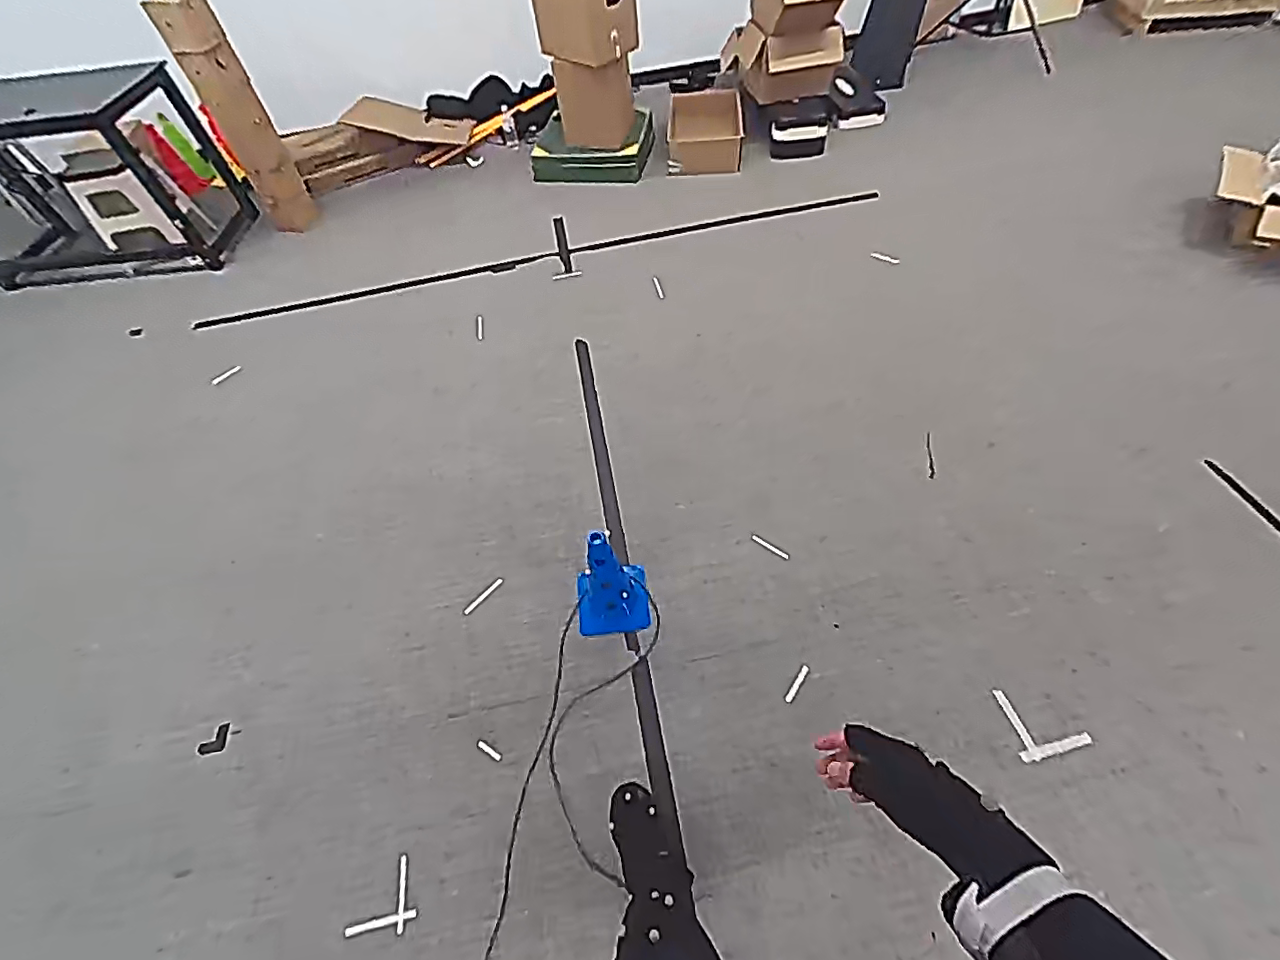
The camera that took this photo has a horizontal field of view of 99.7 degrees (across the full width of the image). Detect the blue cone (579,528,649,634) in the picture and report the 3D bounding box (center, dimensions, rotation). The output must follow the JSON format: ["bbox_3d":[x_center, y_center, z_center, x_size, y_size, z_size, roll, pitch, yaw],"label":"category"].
[{"bbox_3d":[-0.089,0.240,1.392,0.193,0.380,0.192,-10,54,0],"label":"blue cone"}]
